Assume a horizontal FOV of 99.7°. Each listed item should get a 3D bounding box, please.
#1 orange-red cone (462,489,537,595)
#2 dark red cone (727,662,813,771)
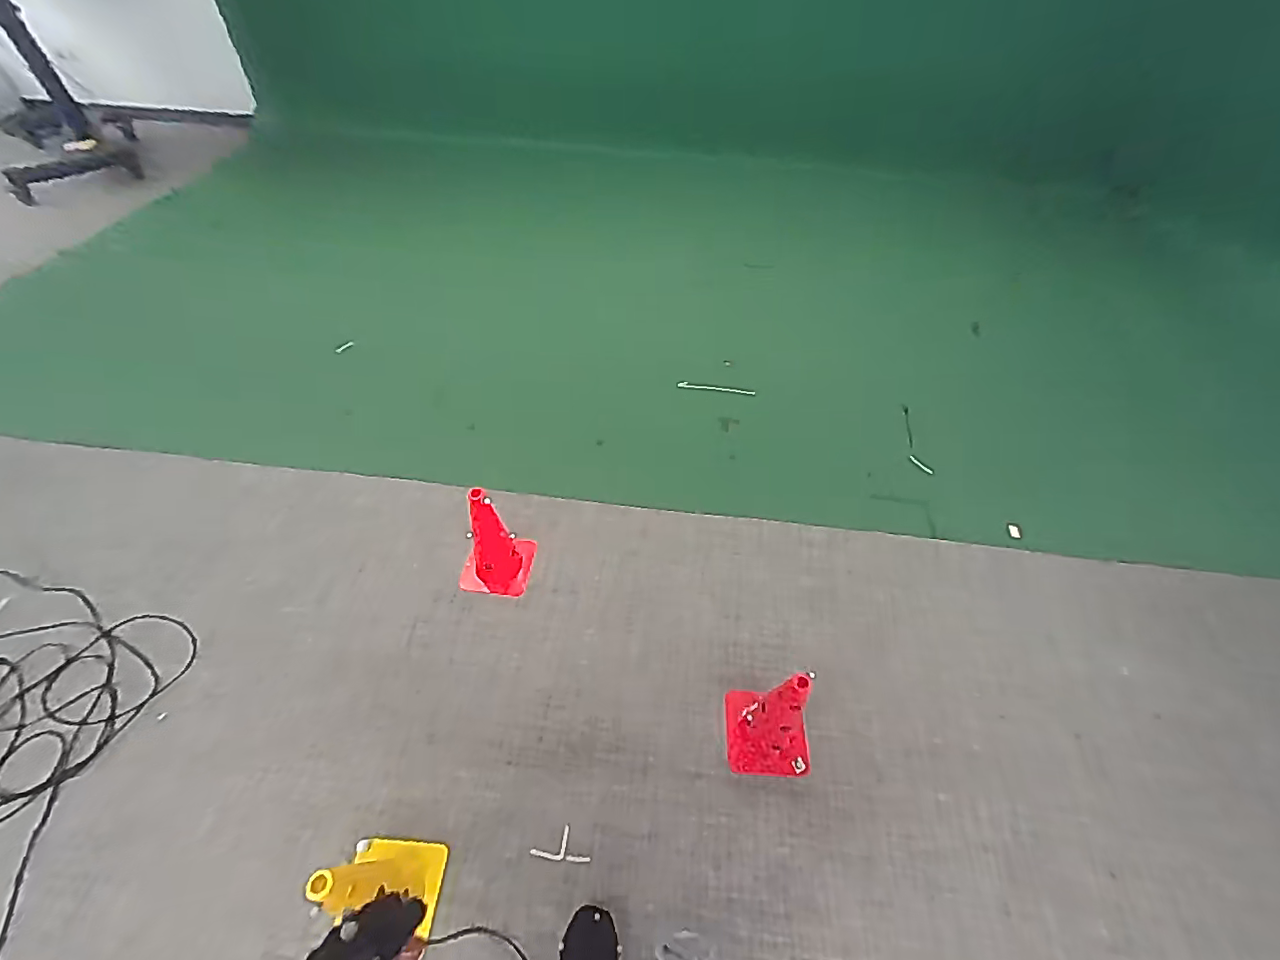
[{"bbox_3d":[-0.430,0.151,1.539,0.198,0.360,0.199,6,51,4],"label":"orange-red cone"},{"bbox_3d":[0.326,0.512,1.231,0.202,0.394,0.201,2,48,0],"label":"dark red cone"}]
